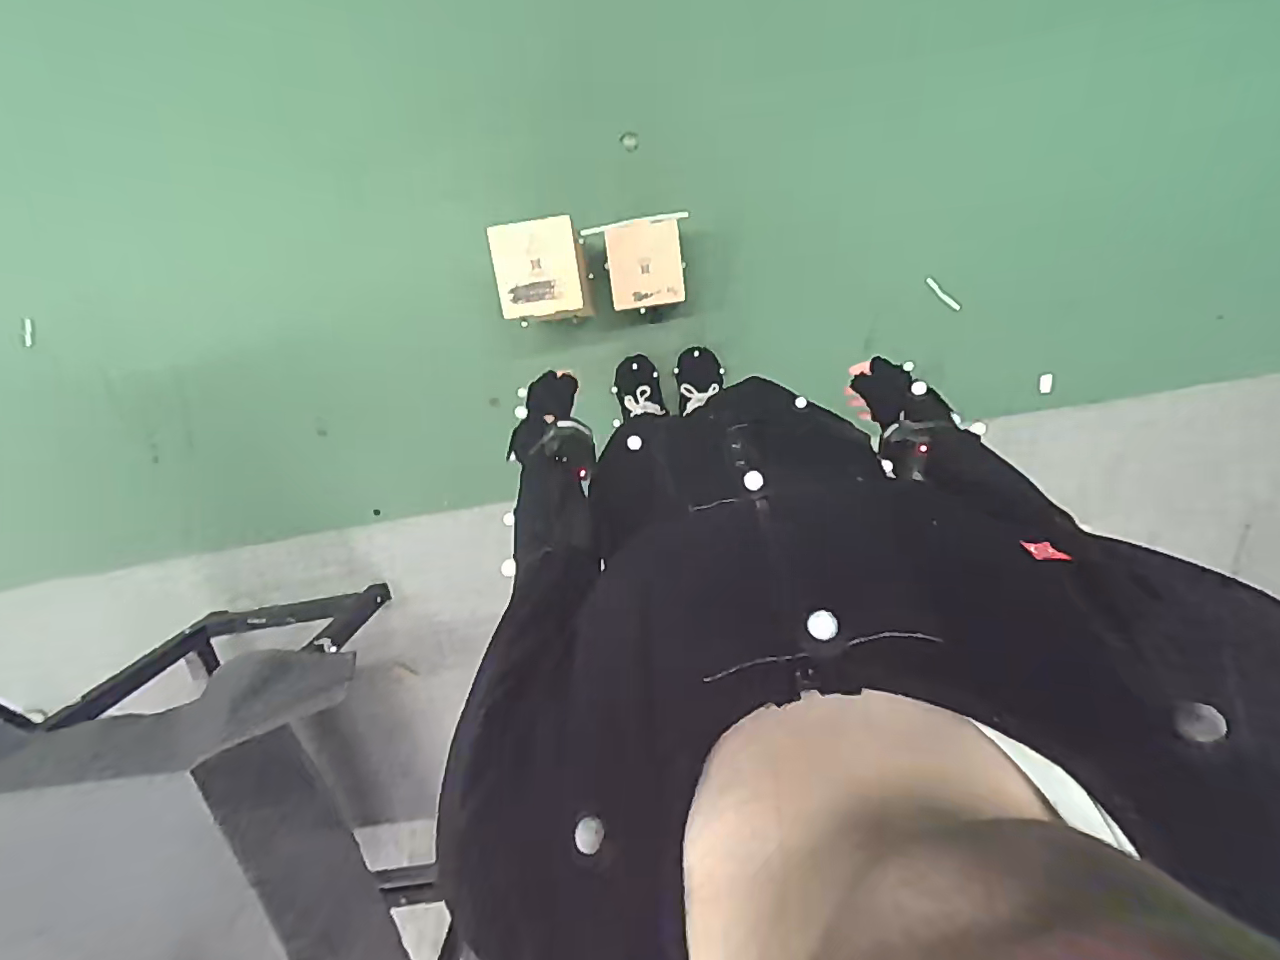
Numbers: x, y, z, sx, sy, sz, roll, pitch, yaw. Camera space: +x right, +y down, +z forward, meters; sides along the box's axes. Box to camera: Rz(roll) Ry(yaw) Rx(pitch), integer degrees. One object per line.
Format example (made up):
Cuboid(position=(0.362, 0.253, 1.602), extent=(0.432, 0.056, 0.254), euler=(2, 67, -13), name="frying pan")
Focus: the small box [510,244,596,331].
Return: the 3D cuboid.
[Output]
Cuboid(position=(-0.204, -0.460, 1.312), extent=(0.168, 0.176, 0.179), euler=(-5, 105, 3), name="small box")
